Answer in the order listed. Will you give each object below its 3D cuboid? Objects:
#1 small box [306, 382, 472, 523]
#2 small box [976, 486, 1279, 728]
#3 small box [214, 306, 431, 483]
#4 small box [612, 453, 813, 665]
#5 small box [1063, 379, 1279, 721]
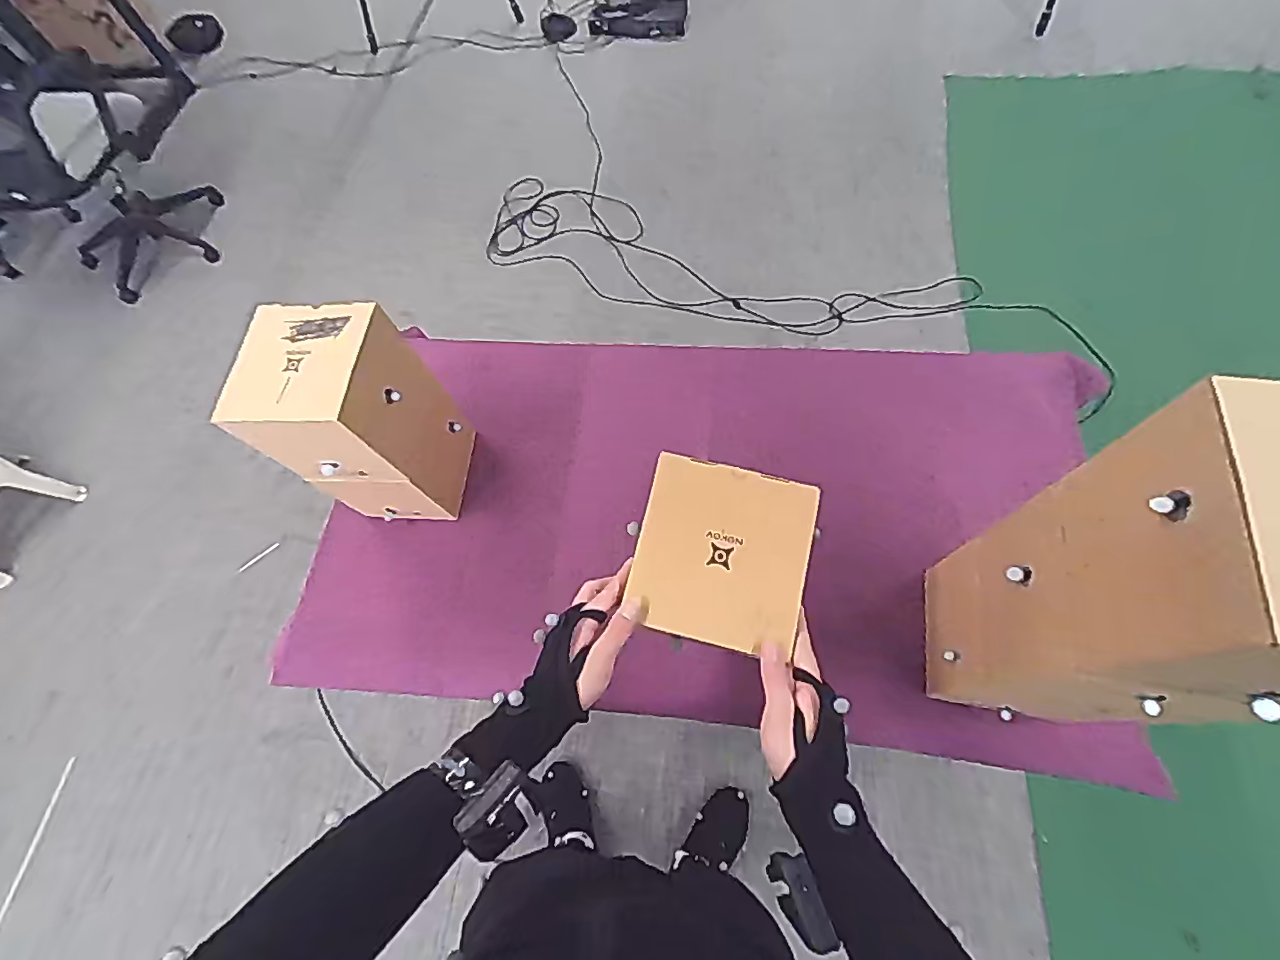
[{"bbox_3d":[-0.391,-0.043,0.880,0.168,0.176,0.179,1,67,8],"label":"small box"},{"bbox_3d":[0.448,0.128,0.520,0.168,0.176,0.179,8,66,11],"label":"small box"},{"bbox_3d":[-0.407,-0.111,0.732,0.168,0.176,0.179,1,67,8],"label":"small box"},{"bbox_3d":[0.076,0.094,0.599,0.168,0.176,0.179,13,73,6],"label":"small box"},{"bbox_3d":[0.431,0.057,0.372,0.168,0.176,0.179,8,67,12],"label":"small box"}]
